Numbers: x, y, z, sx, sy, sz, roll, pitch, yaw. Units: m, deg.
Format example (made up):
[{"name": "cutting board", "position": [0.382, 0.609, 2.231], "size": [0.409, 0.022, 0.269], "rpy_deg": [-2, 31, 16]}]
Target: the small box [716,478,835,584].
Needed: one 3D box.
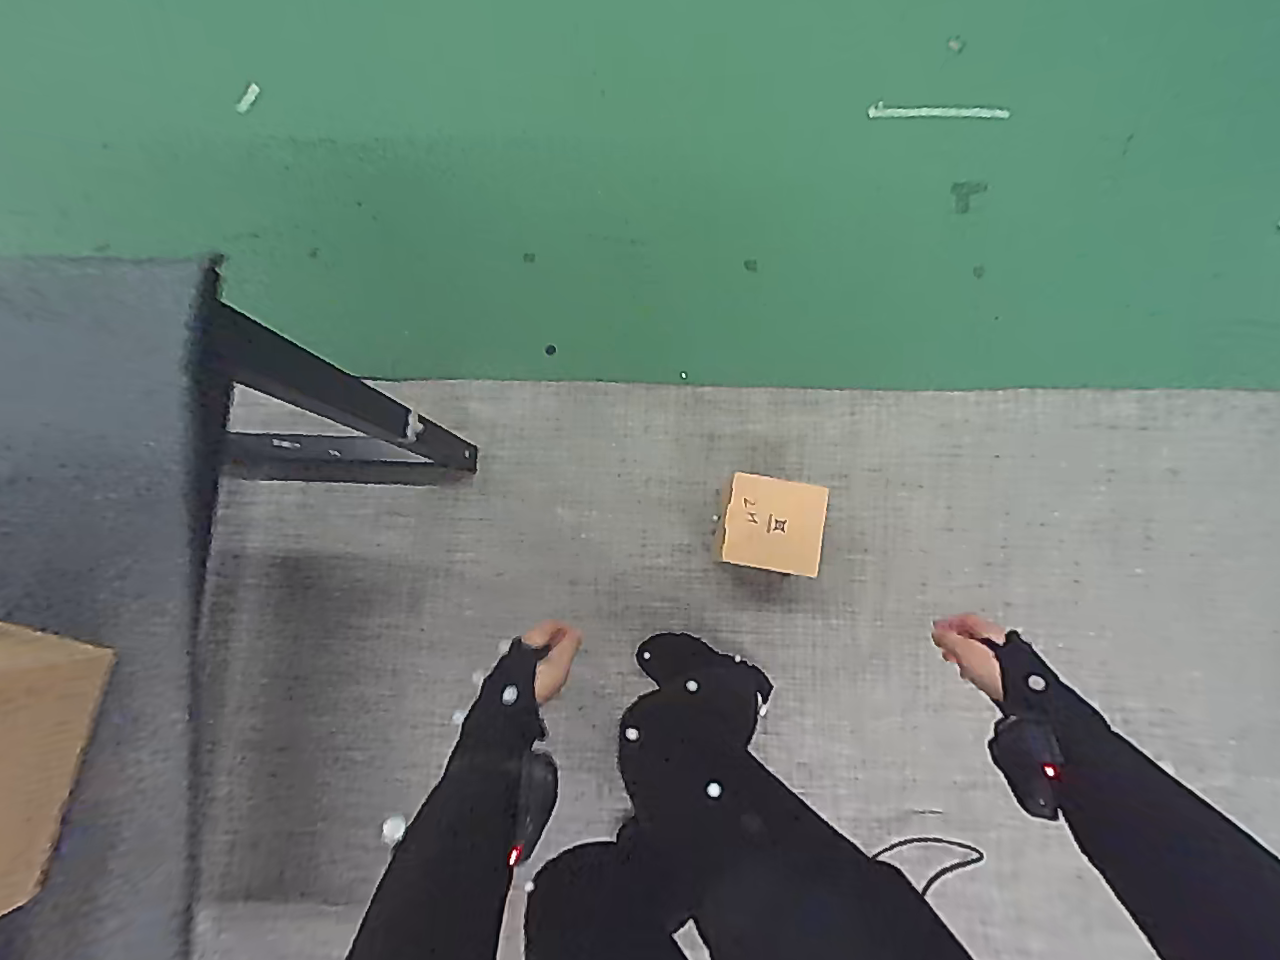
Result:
[{"name": "small box", "position": [0.253, 0.098, 1.043], "size": [0.179, 0.176, 0.168], "rpy_deg": [10, 83, 3]}]
